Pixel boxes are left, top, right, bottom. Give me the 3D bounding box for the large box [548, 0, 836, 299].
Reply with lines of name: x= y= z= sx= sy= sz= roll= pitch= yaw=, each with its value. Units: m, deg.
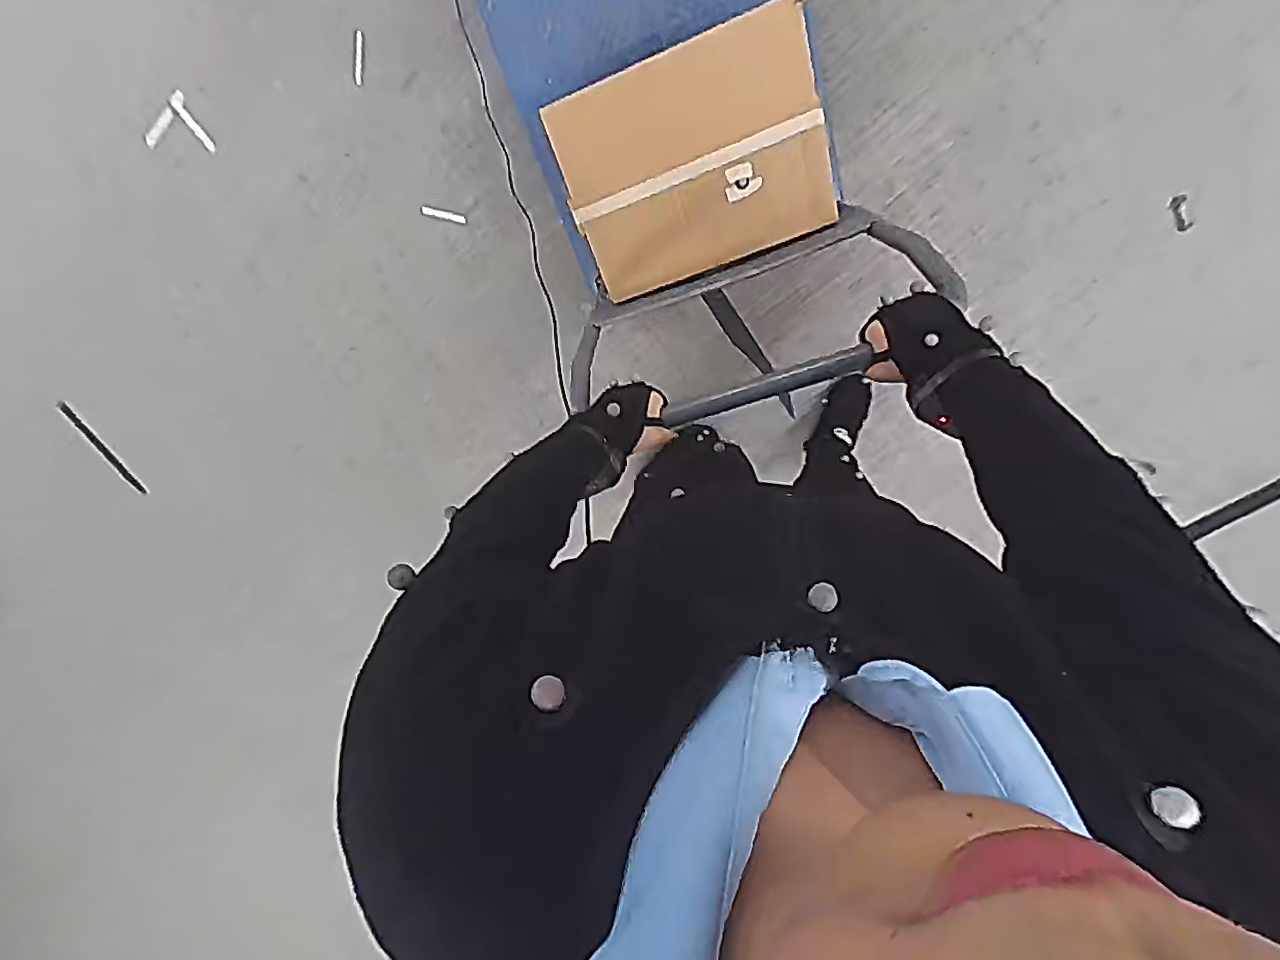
large box: x=0.095 y=-0.583 z=1.005 sx=0.408 sy=0.320 sz=0.320 roll=-18 pitch=118 yaw=12
